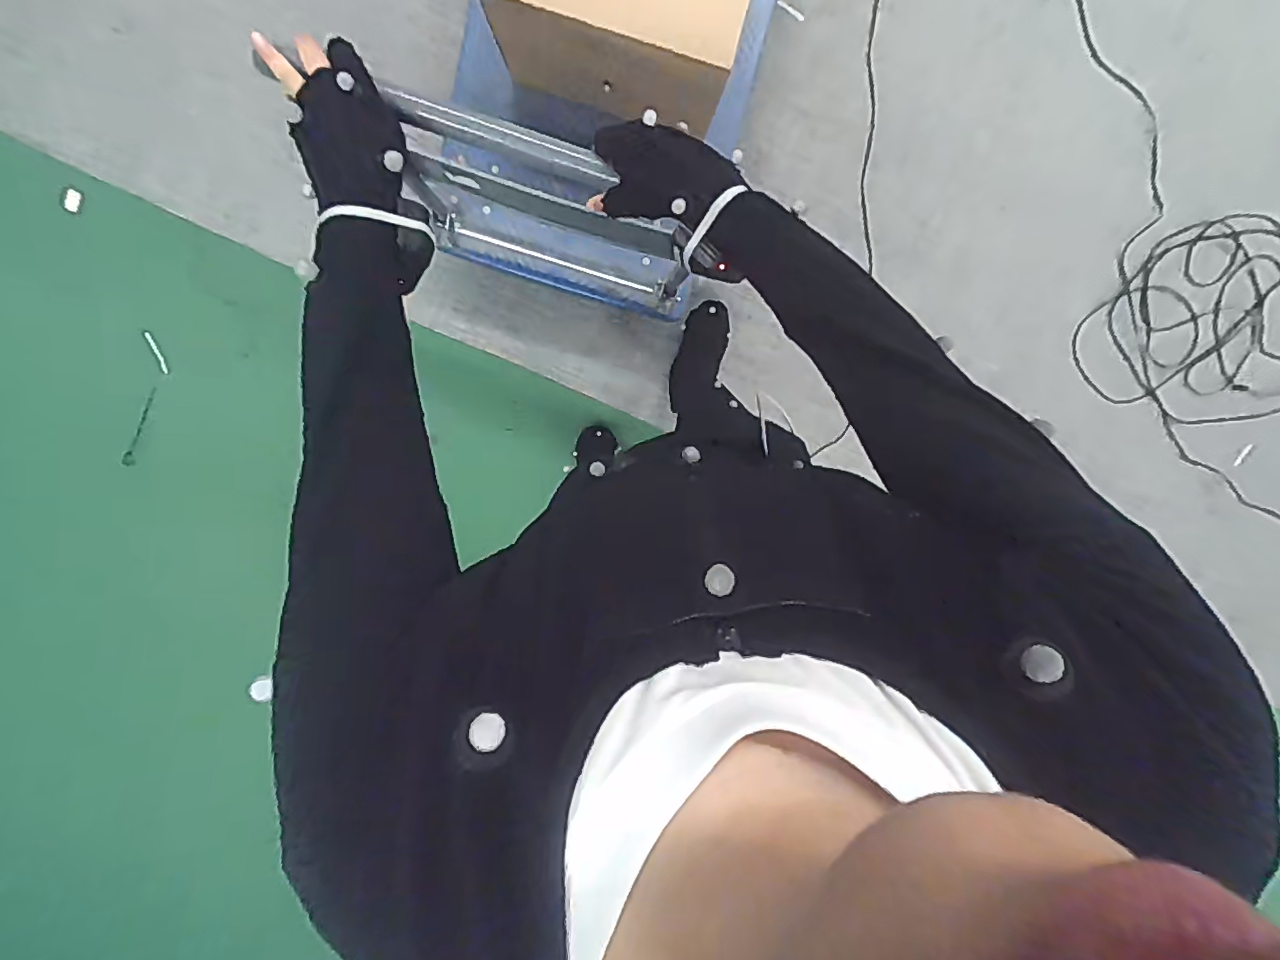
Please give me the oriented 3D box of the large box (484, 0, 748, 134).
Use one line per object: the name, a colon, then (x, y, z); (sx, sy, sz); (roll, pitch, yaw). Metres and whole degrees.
large box: (-0.016, -0.866, 0.934); (0.408, 0.320, 0.320); (14, 103, -5)
